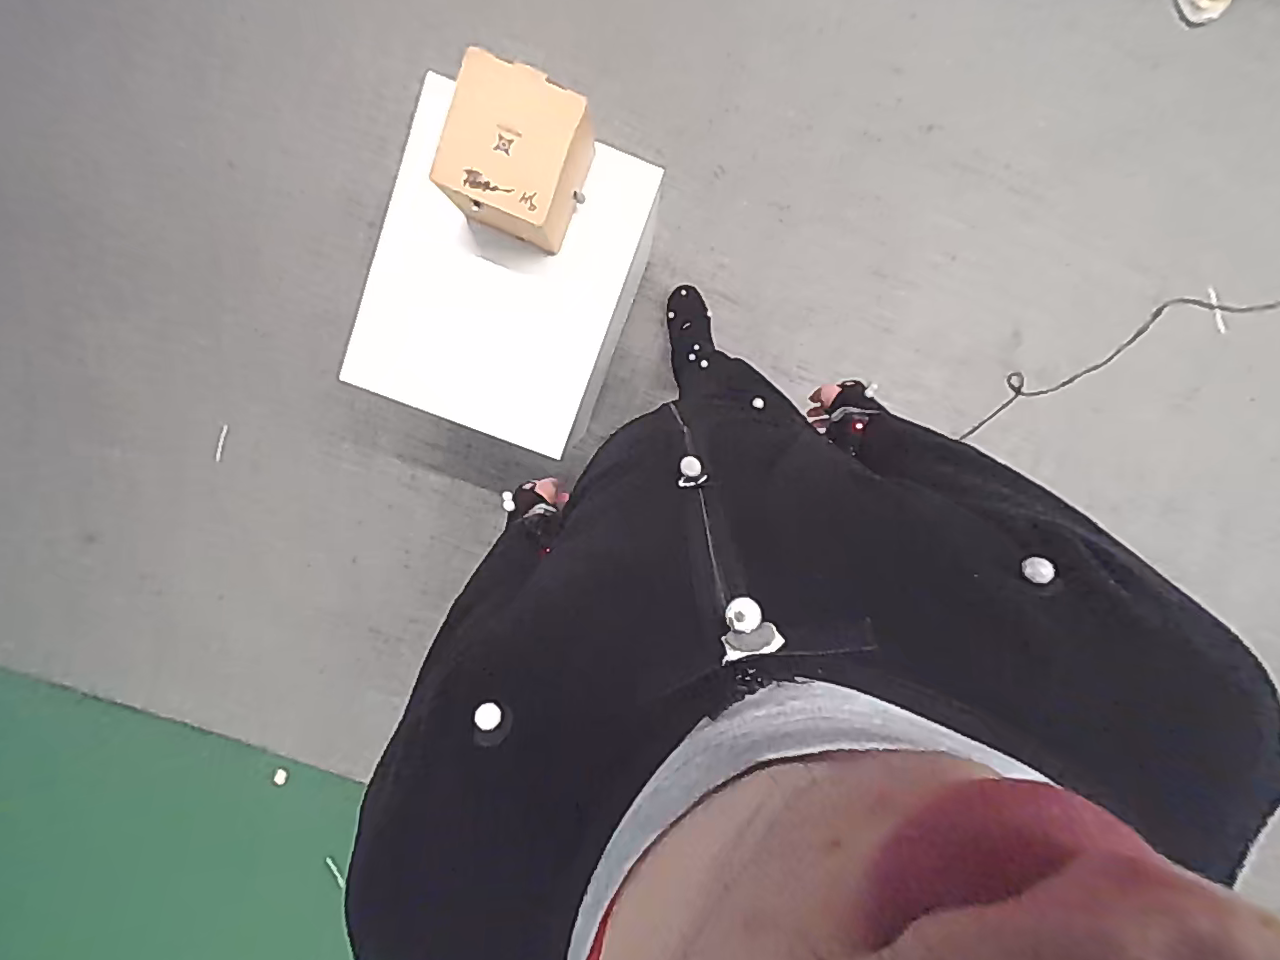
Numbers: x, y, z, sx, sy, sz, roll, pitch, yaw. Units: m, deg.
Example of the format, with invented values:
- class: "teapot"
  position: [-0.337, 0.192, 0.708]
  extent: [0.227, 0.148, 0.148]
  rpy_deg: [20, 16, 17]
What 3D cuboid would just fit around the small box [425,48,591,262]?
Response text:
- class: "small box"
  position: [-0.175, -0.441, 0.767]
  extent: [0.168, 0.176, 0.179]
  rpy_deg: [21, 97, -6]
